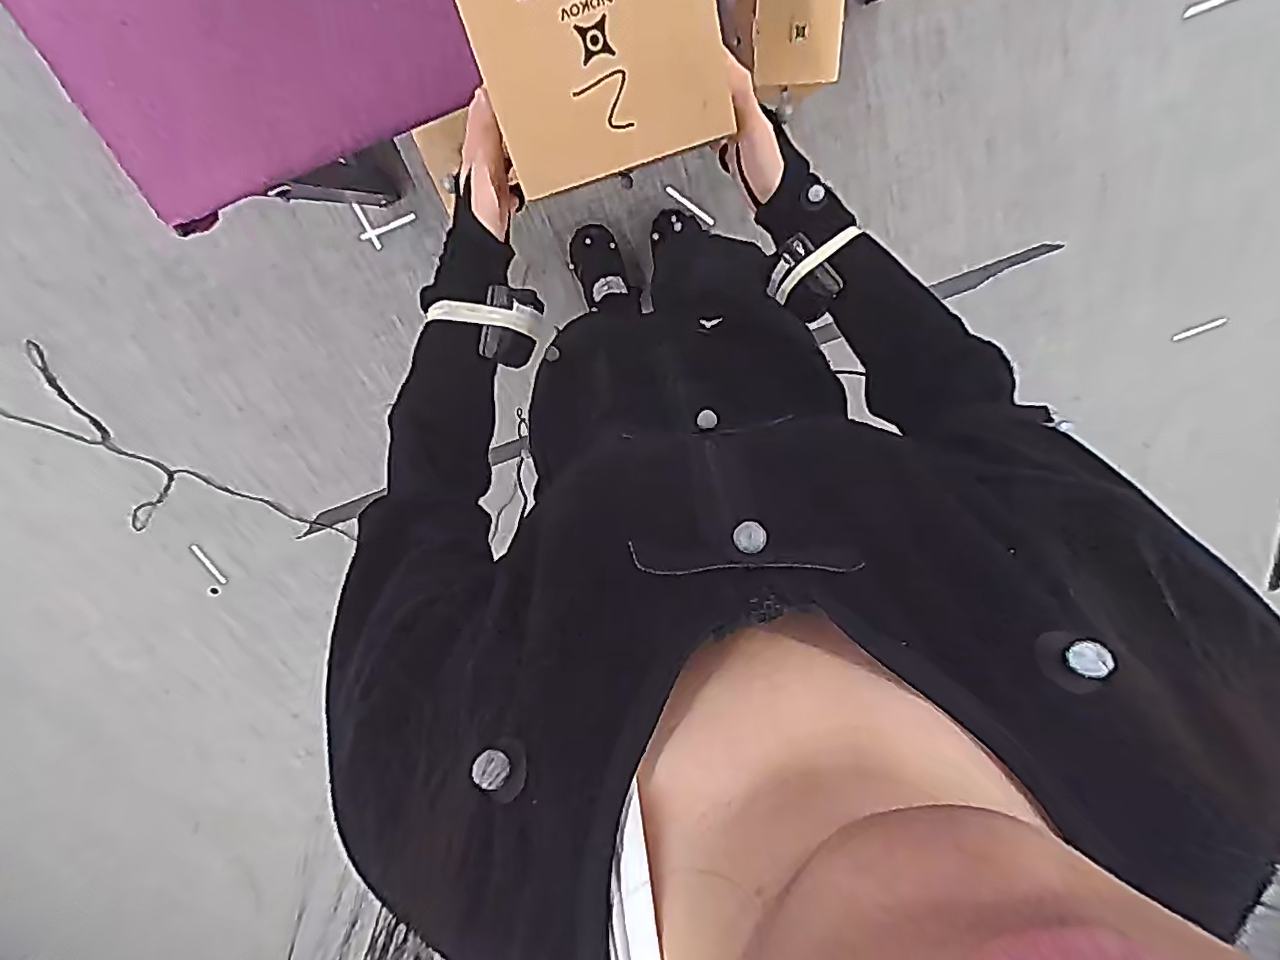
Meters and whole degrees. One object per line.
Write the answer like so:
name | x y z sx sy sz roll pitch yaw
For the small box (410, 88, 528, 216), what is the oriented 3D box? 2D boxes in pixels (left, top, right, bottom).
small box | -0.343 -0.668 1.122 0.168 0.176 0.179 -19 114 2

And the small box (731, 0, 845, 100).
small box | 0.293 -0.888 1.098 0.179 0.176 0.168 -5 116 -4
